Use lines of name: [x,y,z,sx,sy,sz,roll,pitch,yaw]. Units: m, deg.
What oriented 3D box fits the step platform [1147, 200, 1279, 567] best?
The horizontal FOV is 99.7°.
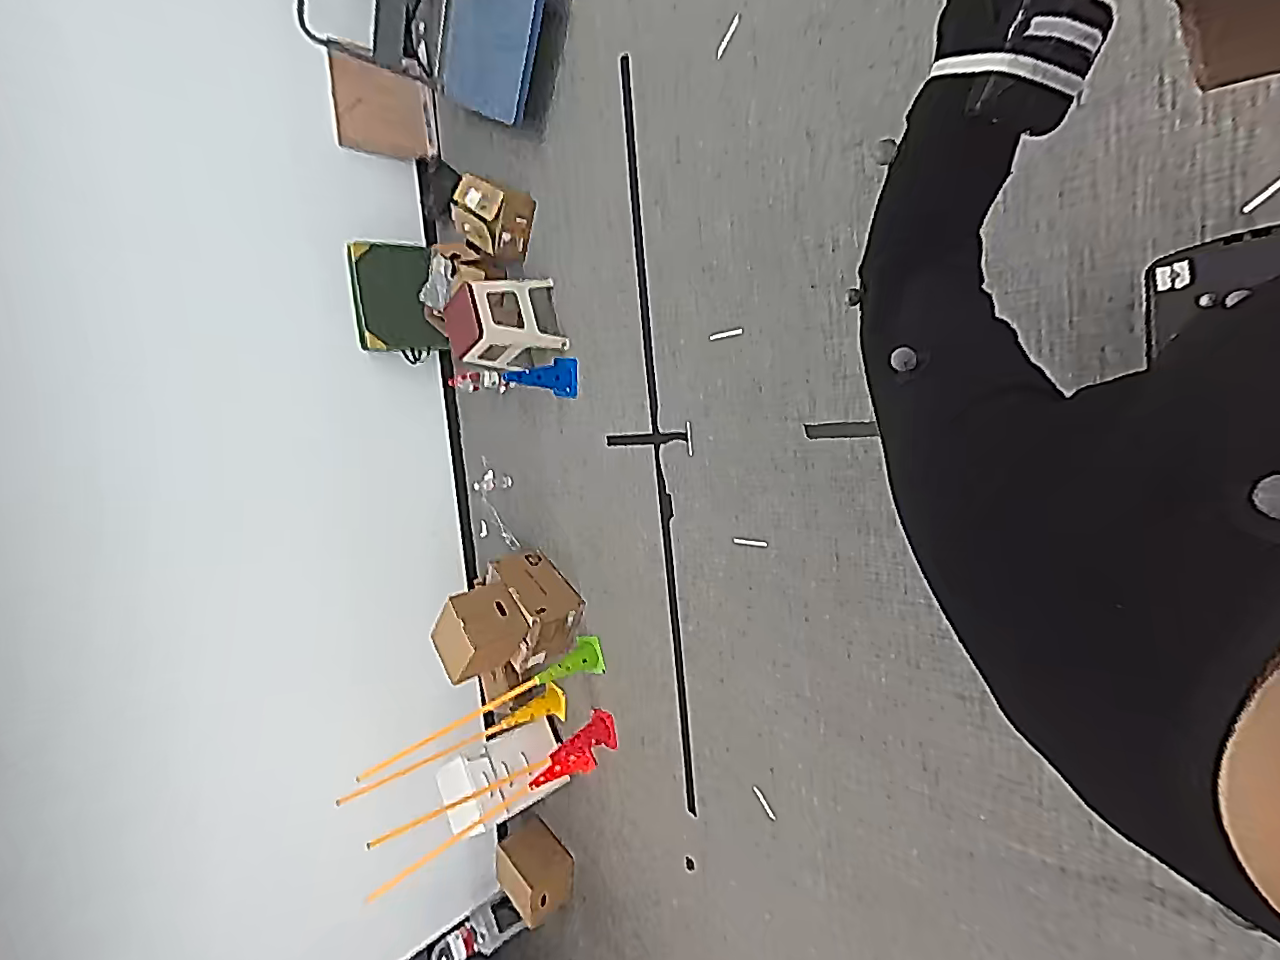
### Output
step platform: [1.202,-0.175,1.053,0.286,0.204,0.684,-3,94,47]
